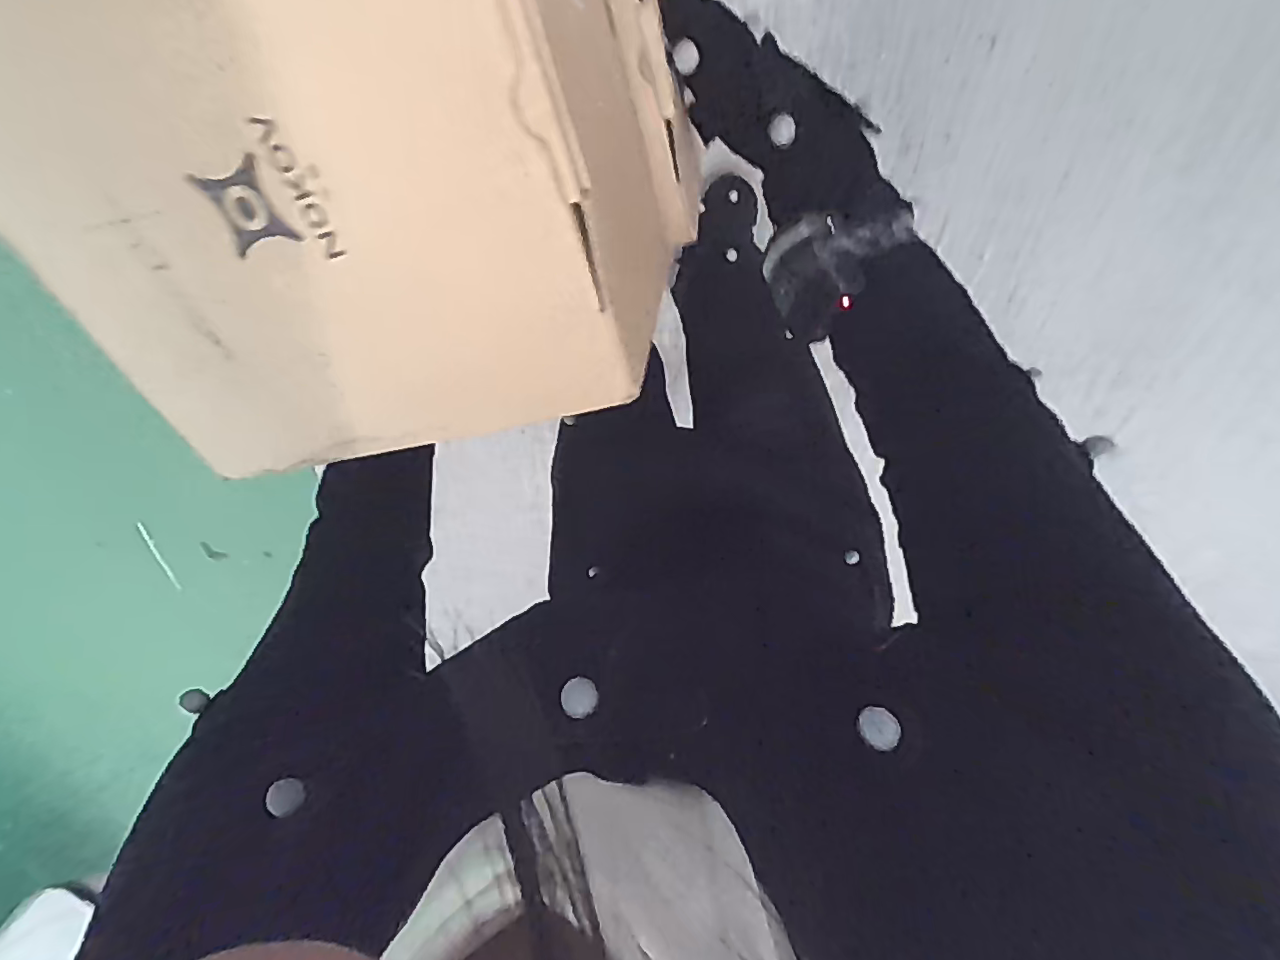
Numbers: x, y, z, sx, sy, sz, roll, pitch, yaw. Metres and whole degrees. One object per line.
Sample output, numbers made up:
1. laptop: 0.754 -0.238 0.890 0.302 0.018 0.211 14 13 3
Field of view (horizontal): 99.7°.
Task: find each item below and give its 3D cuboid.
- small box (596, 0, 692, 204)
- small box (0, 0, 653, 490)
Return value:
1. small box: -0.053 -0.325 0.459 0.179 0.176 0.168 -7 124 15
2. small box: -0.099 -0.121 0.211 0.179 0.176 0.168 -9 124 17
